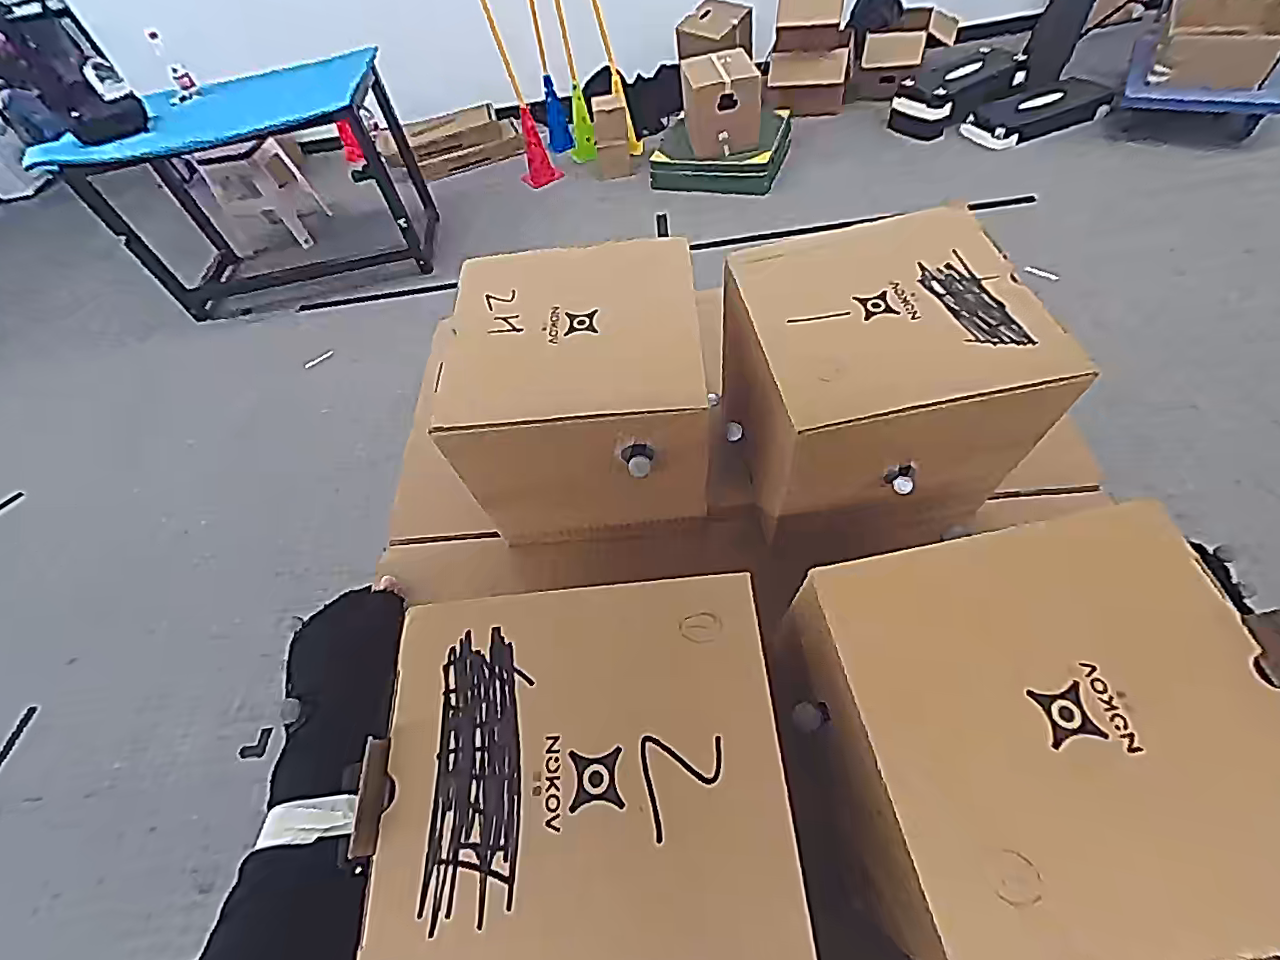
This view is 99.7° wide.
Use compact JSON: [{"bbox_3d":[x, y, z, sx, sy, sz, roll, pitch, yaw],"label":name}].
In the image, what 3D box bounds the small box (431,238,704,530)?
[{"bbox_3d":[-0.040,-0.069,0.447,0.179,0.176,0.168,-4,58,5],"label":"small box"}]
